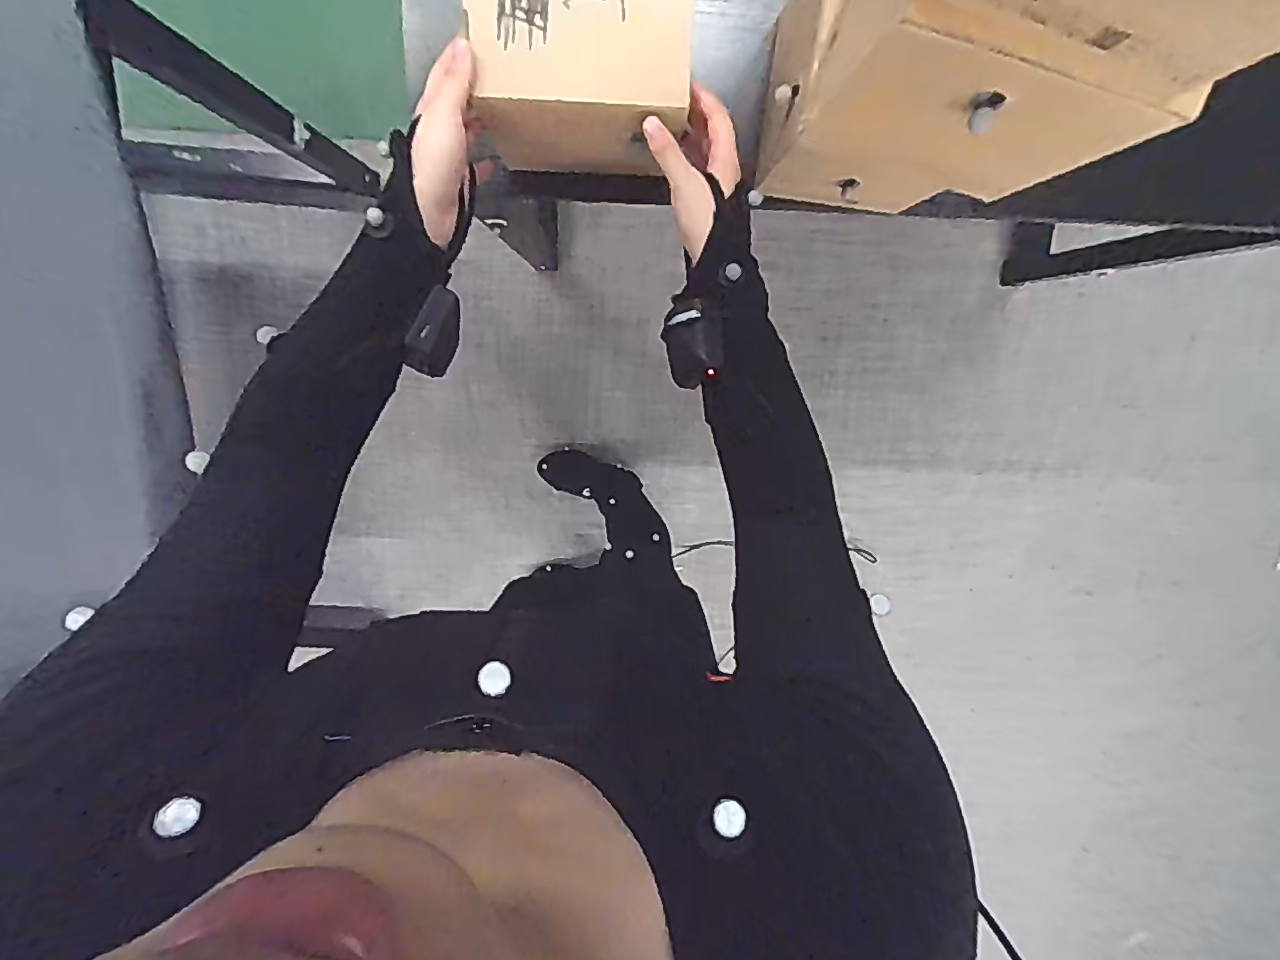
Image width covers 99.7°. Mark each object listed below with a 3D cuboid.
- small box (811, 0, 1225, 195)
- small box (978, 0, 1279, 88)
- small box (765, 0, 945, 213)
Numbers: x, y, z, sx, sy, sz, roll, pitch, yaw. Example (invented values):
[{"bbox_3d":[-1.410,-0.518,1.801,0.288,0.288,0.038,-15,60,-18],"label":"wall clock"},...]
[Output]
[{"bbox_3d":[0.239,-0.305,0.346,0.179,0.176,0.168,14,103,-5],"label":"small box"},{"bbox_3d":[0.239,-0.281,0.183,0.168,0.176,0.179,17,104,-5],"label":"small box"},{"bbox_3d":[0.223,-0.363,0.498,0.168,0.176,0.179,6,103,-4],"label":"small box"}]
